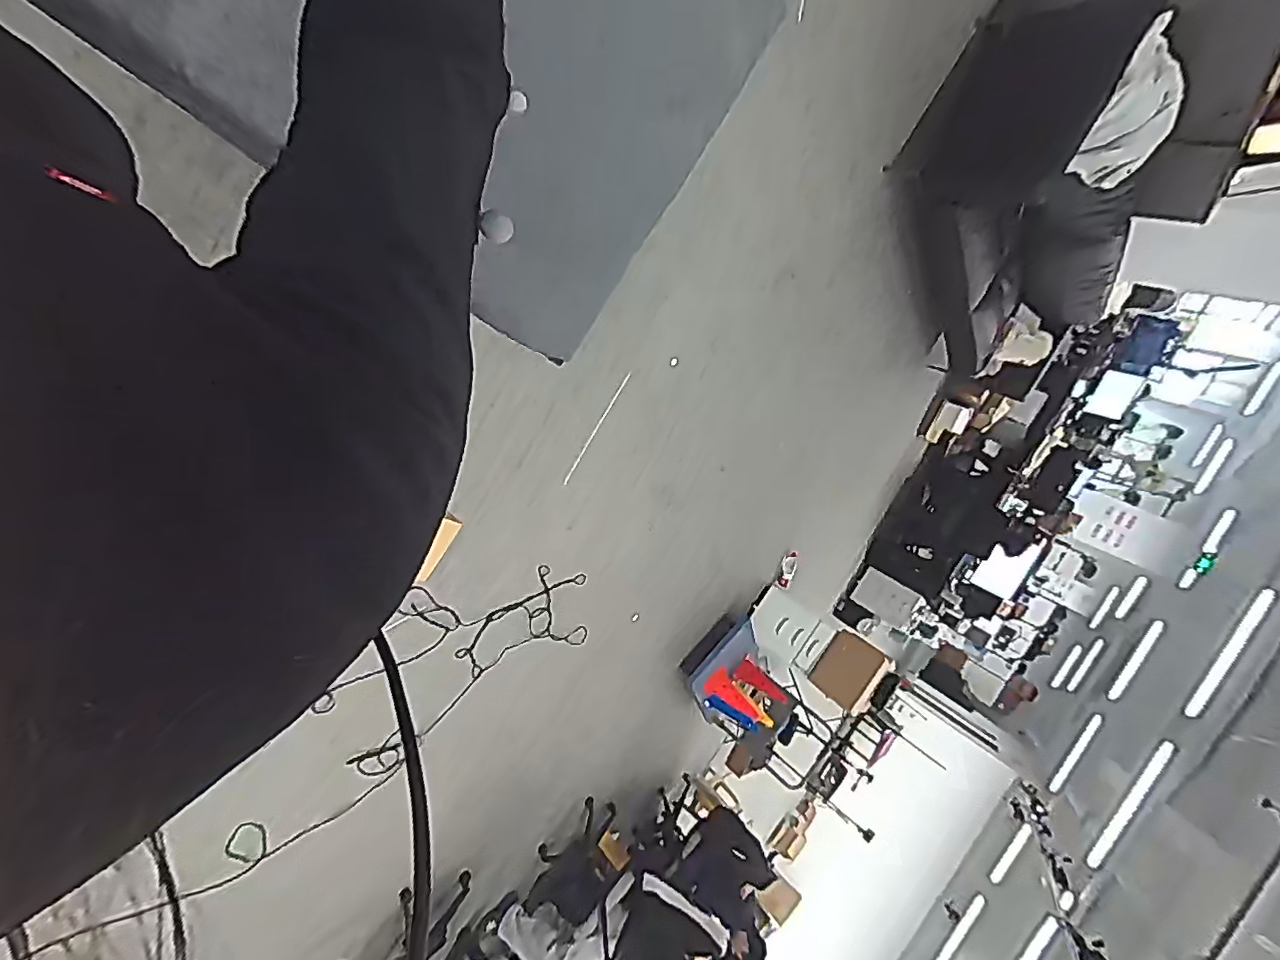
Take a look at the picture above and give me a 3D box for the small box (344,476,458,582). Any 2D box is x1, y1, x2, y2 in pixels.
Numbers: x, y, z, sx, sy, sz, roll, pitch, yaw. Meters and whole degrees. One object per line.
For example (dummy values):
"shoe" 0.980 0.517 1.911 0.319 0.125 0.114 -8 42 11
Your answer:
"small box" -0.588 0.120 1.318 0.179 0.176 0.168 -58 145 -1
